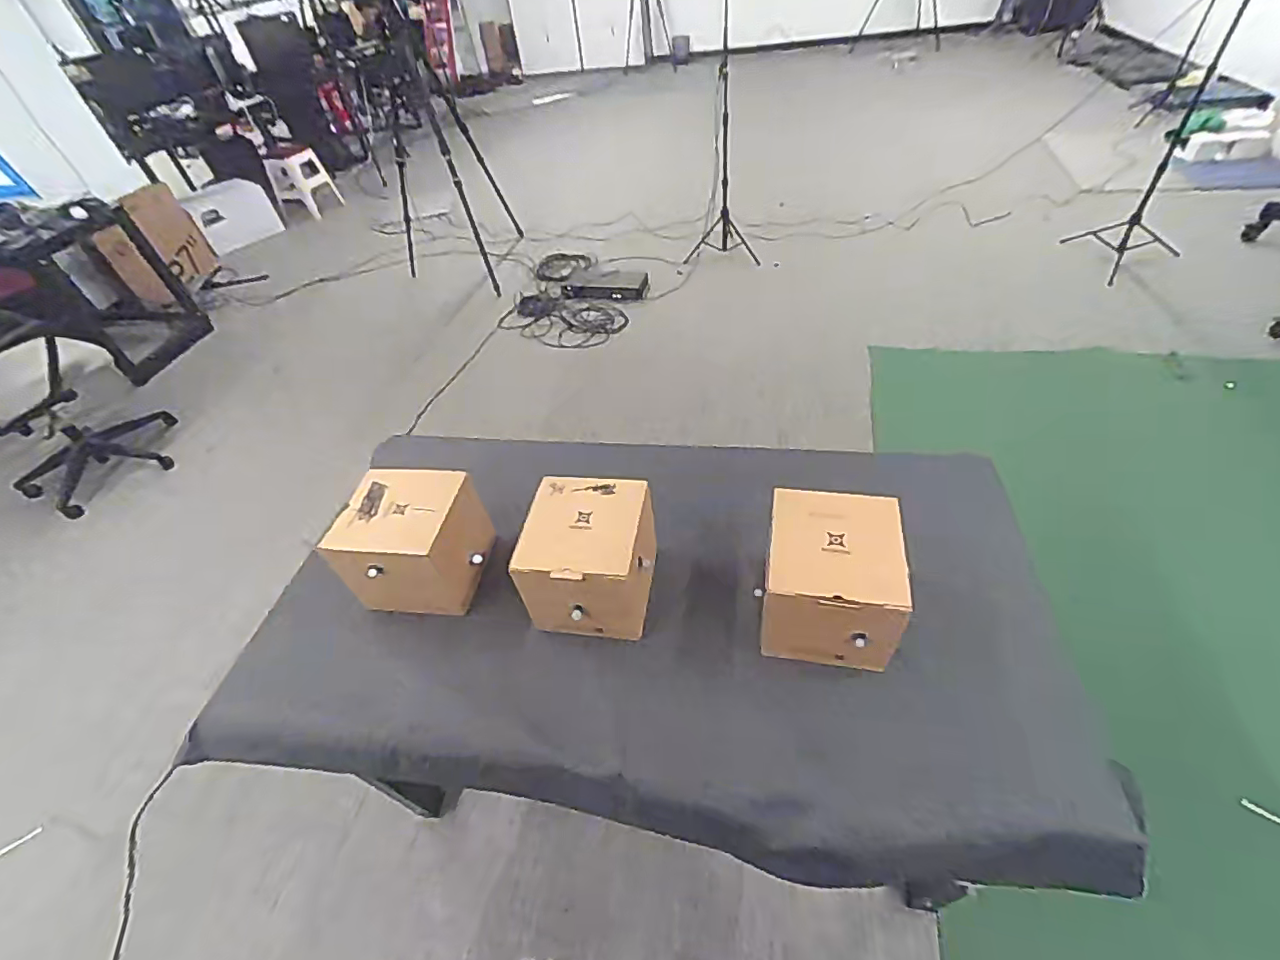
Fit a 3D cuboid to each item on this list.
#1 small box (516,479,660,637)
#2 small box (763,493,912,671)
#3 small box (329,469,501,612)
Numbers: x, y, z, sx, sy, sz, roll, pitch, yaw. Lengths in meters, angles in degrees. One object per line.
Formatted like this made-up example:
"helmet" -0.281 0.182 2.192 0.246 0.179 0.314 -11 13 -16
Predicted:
"small box" -0.066 0.120 0.826 0.168 0.176 0.179 3 47 11
"small box" 0.265 0.143 0.757 0.168 0.176 0.179 5 46 12
"small box" -0.353 0.100 0.885 0.179 0.176 0.168 2 47 9
